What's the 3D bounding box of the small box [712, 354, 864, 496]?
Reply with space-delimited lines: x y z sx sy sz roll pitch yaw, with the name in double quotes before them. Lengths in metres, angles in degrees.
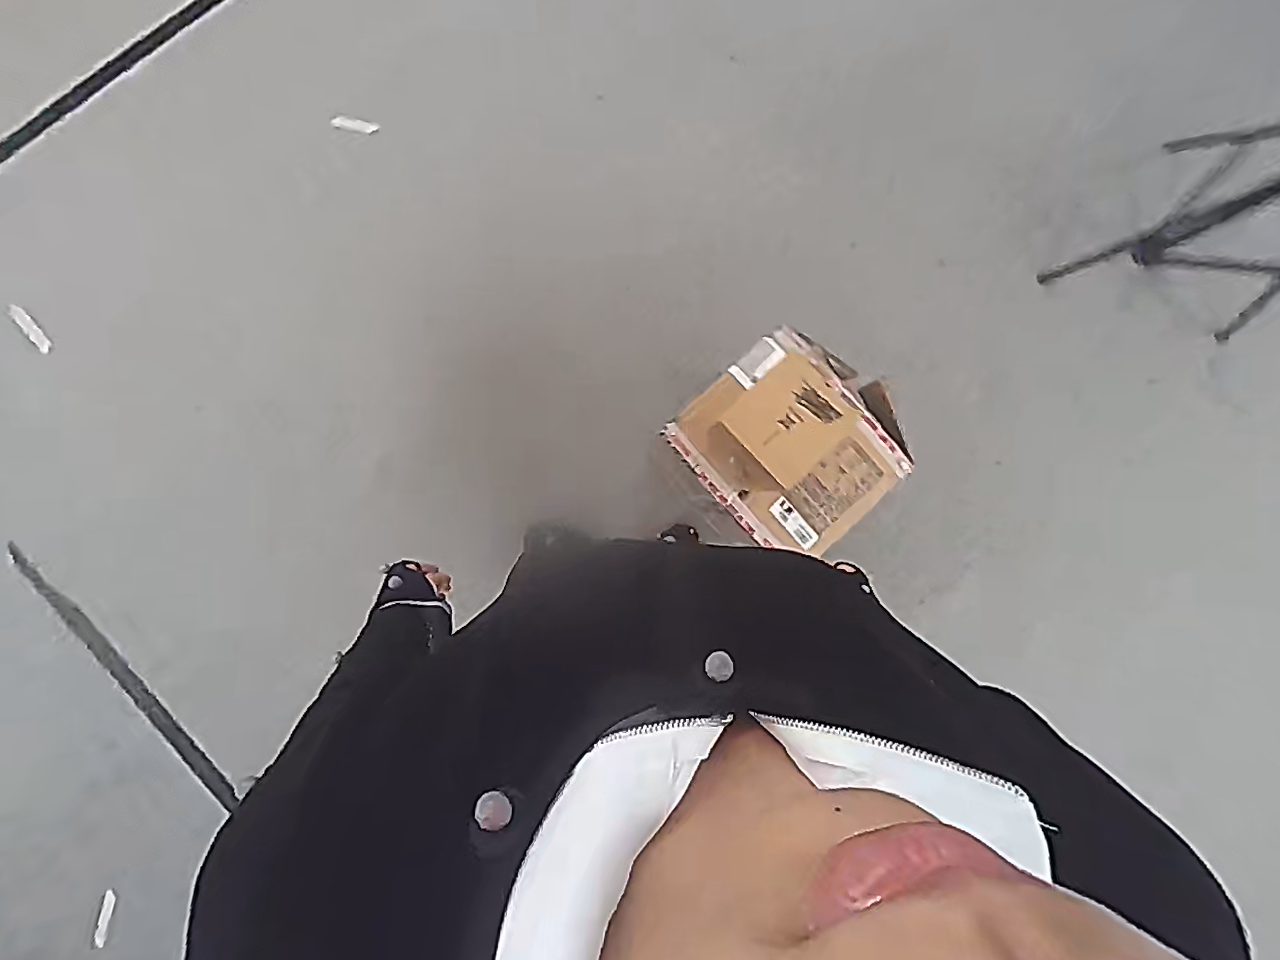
"small box" 0.247 -0.090 0.955 0.179 0.176 0.168 -43 89 -1
